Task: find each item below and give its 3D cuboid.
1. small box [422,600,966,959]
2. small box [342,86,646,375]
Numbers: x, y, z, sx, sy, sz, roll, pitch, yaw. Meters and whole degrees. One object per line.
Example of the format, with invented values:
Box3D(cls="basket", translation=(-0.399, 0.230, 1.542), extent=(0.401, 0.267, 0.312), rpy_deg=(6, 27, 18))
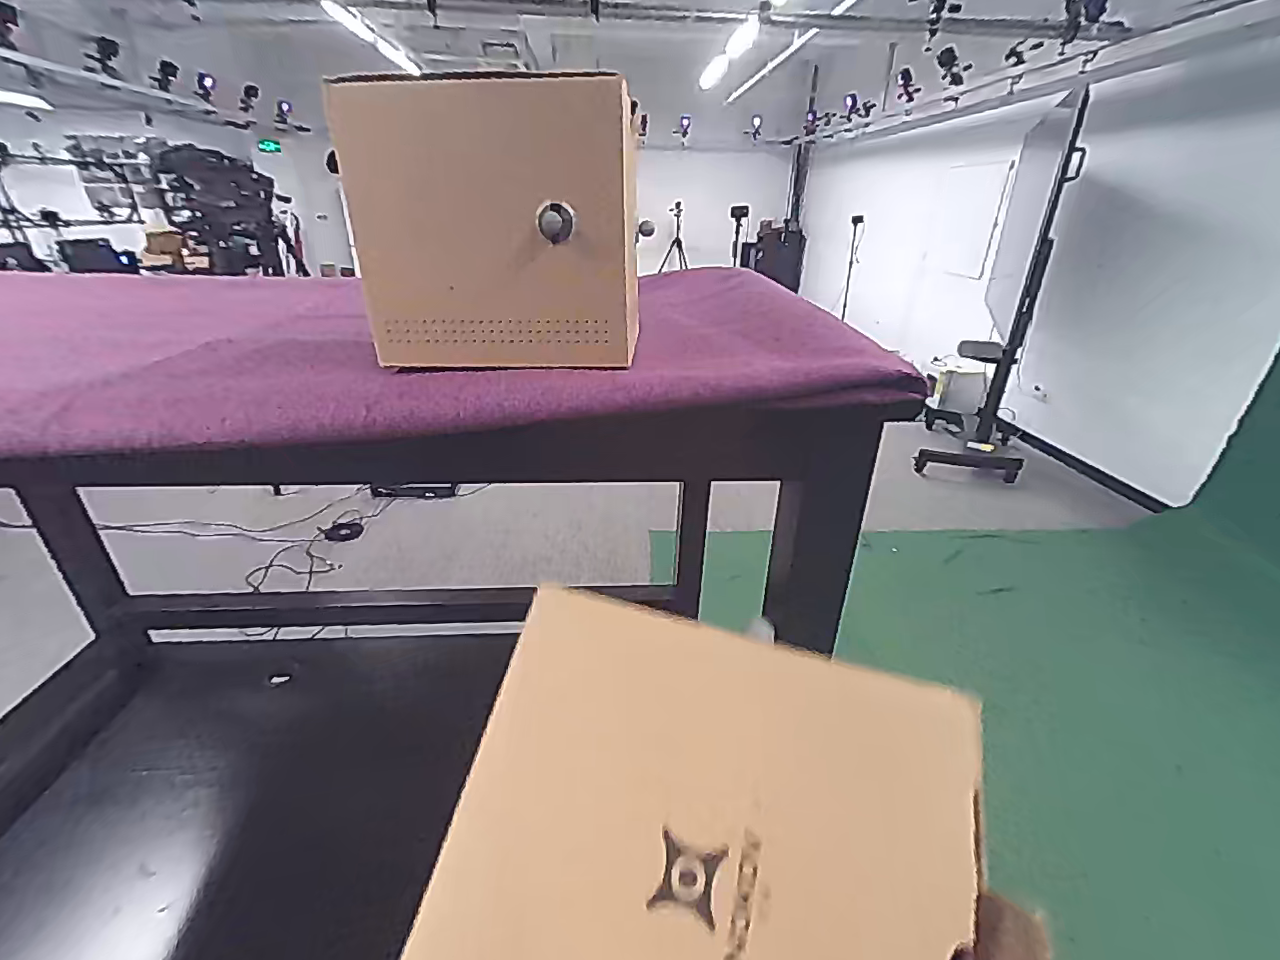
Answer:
Box3D(cls="small box", translation=(0.025, 0.178, 0.261), extent=(0.179, 0.176, 0.168), rpy_deg=(13, 63, 8))
Box3D(cls="small box", translation=(-0.085, -0.180, 0.416), extent=(0.179, 0.176, 0.168), rpy_deg=(0, 23, 2))
